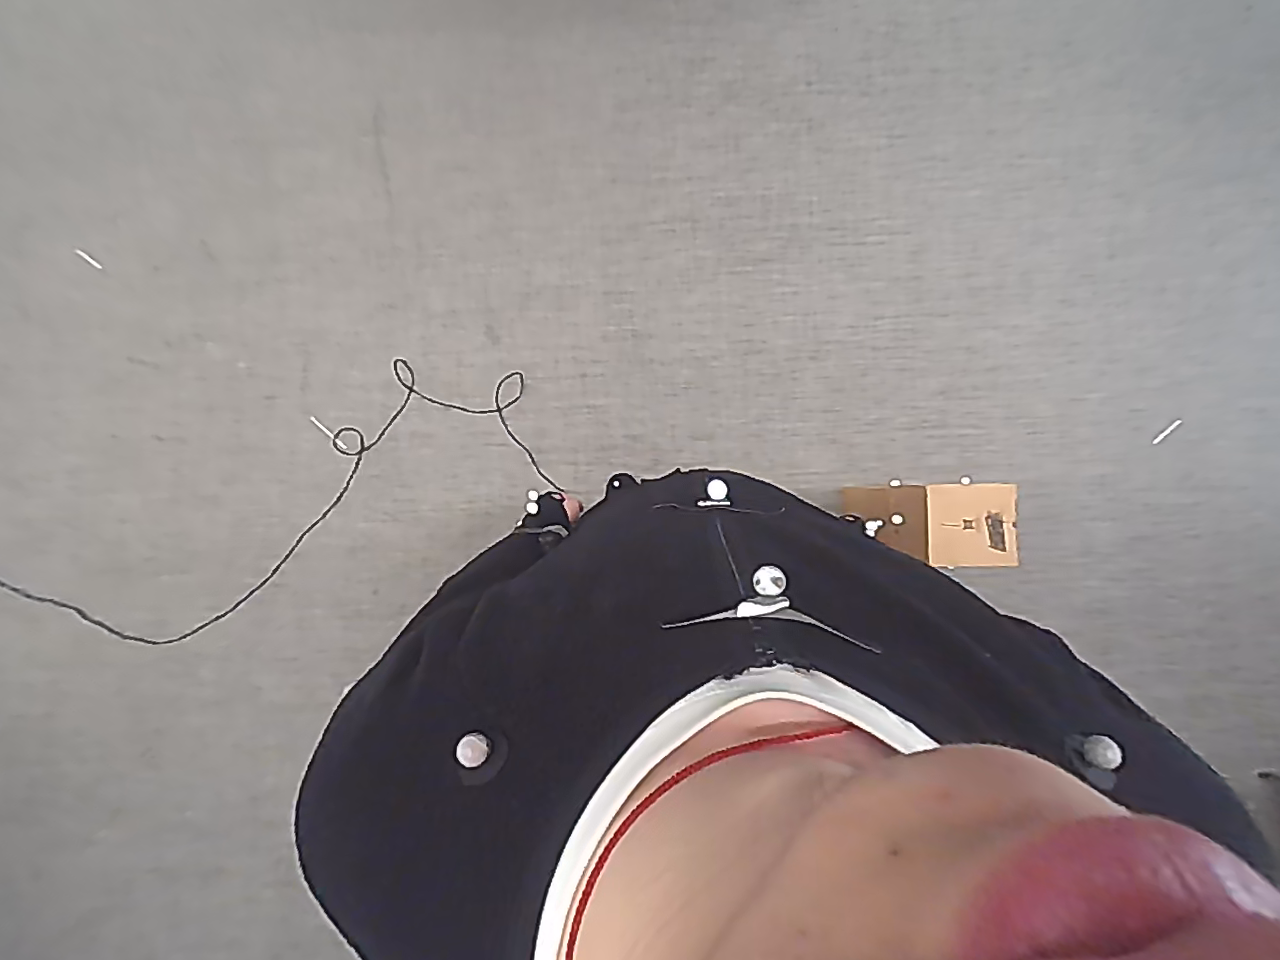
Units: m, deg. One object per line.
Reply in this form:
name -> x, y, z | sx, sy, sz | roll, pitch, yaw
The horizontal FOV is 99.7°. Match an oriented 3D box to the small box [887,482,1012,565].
small box -> 0.655, 0.089, 1.158 | 0.179, 0.176, 0.168 | 0, 89, 2

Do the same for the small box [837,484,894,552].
small box -> 0.652, 0.100, 1.485 | 0.168, 0.176, 0.179 | -1, 90, 0

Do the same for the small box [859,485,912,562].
small box -> 0.650, 0.099, 1.324 | 0.168, 0.176, 0.179 | -2, 92, 1
